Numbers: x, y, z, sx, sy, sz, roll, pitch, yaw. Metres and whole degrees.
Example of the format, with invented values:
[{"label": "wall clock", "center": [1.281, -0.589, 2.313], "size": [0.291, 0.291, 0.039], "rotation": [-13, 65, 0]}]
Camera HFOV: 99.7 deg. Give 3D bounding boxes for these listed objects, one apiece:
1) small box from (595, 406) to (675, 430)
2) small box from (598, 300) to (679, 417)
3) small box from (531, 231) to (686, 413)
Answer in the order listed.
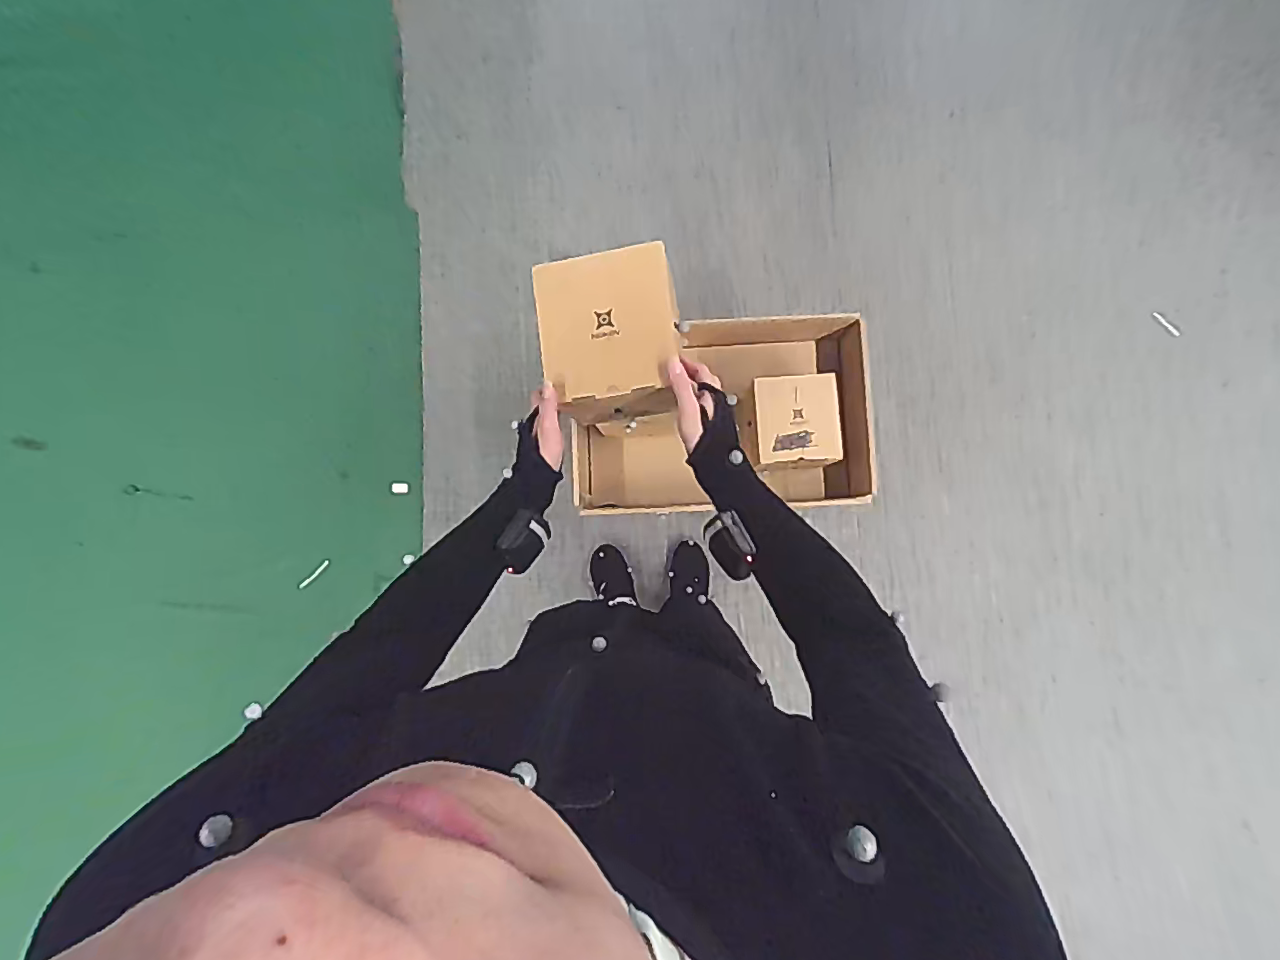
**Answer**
[{"label": "small box", "center": [-0.010, -0.210, 1.169], "size": [0.168, 0.176, 0.179], "rotation": [-1, 86, 2]}, {"label": "small box", "center": [-0.015, -0.221, 1.005], "size": [0.168, 0.176, 0.179], "rotation": [1, 86, 2]}, {"label": "small box", "center": [-0.032, -0.194, 0.715], "size": [0.168, 0.176, 0.179], "rotation": [-7, 89, 8]}]
